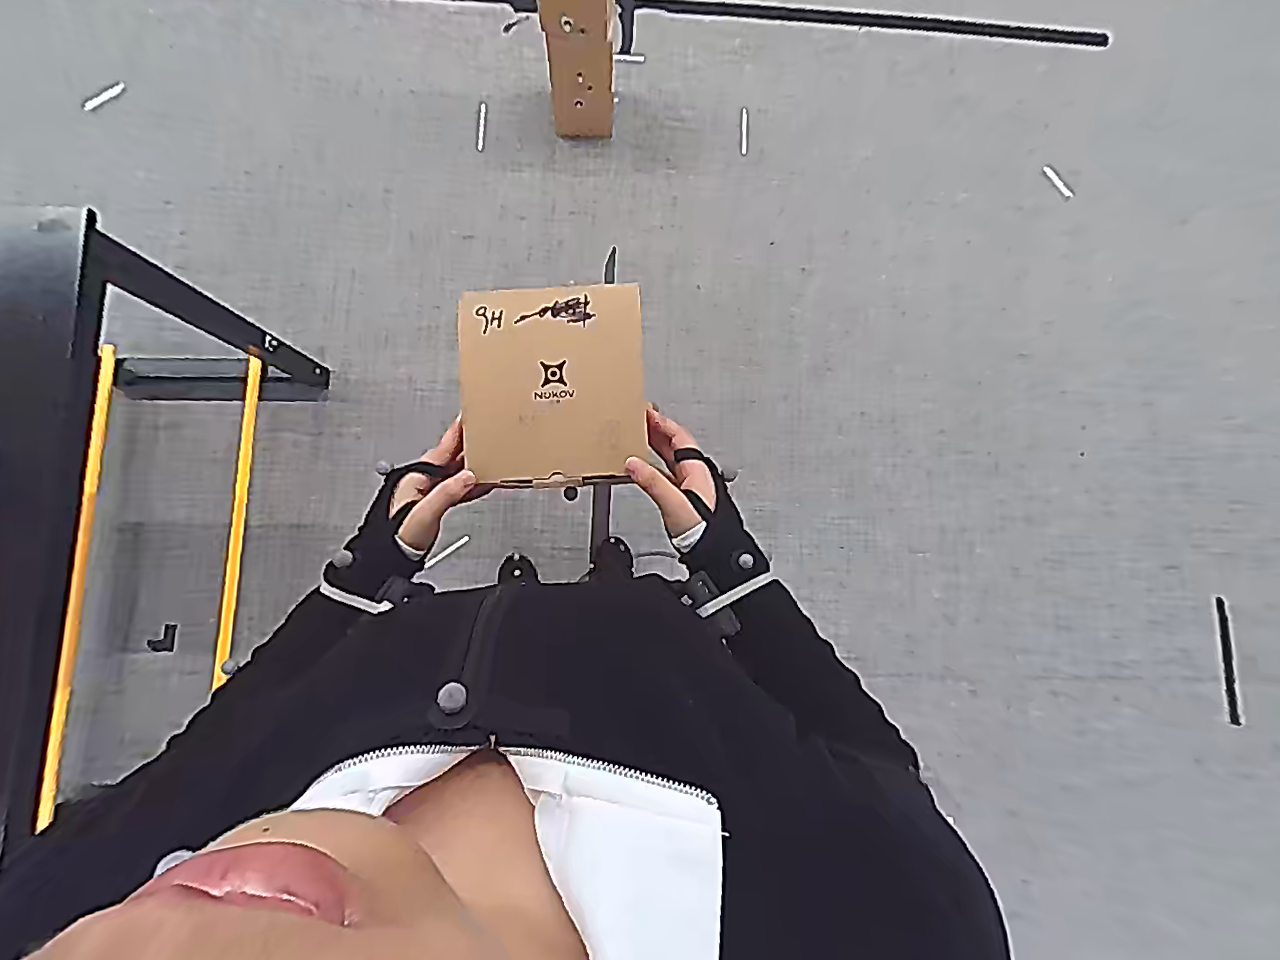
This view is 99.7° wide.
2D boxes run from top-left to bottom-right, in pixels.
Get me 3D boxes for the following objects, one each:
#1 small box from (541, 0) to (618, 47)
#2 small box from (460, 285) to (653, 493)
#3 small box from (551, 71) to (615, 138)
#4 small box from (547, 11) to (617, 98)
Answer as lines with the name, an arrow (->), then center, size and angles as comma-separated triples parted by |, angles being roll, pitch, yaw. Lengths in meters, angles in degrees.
small box -> -0.138, -1.155, 1.241 | 0.168, 0.176, 0.179 | 8, 84, -2
small box -> -0.072, -0.080, 0.552 | 0.168, 0.176, 0.179 | -3, 89, 0
small box -> -0.162, -1.124, 1.566 | 0.179, 0.176, 0.168 | -1, 84, -4
small box -> -0.147, -1.143, 1.403 | 0.168, 0.176, 0.179 | 2, 84, -3
